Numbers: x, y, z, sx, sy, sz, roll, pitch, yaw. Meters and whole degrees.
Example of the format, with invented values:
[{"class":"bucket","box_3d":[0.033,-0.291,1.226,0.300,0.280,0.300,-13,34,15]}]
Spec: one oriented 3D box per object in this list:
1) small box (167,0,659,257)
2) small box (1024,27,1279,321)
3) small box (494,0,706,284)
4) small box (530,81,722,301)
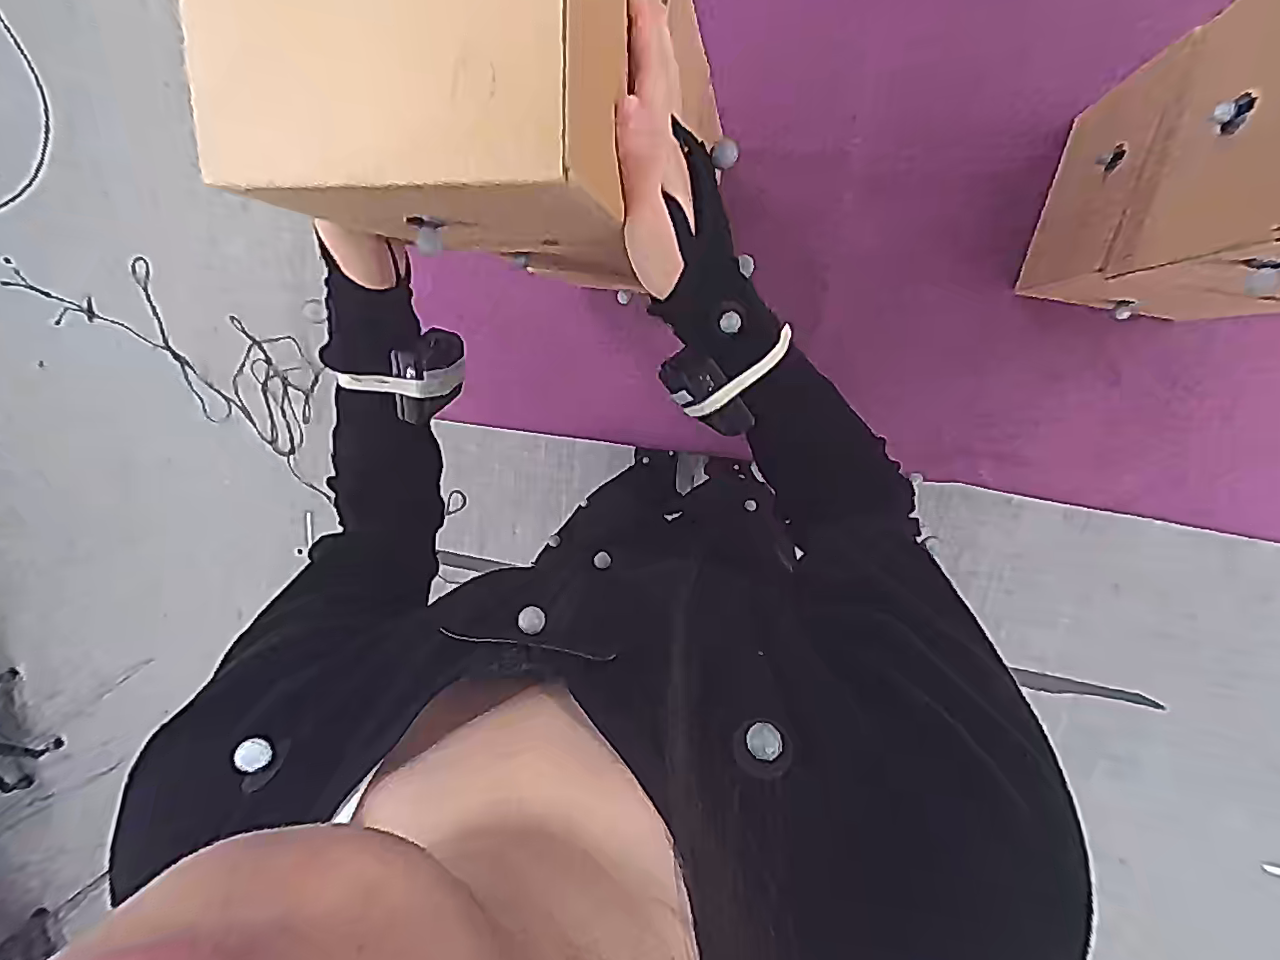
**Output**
[{"class":"small box","box_3d":[-0.087,-0.215,0.270,0.168,0.176,0.179,6,105,11]},{"class":"small box","box_3d":[0.486,-0.248,0.480,0.168,0.176,0.179,15,106,11]},{"class":"small box","box_3d":[-0.045,-0.264,0.430,0.168,0.176,0.179,10,106,12]},{"class":"small box","box_3d":[-0.008,-0.300,0.586,0.168,0.176,0.179,10,106,11]}]
